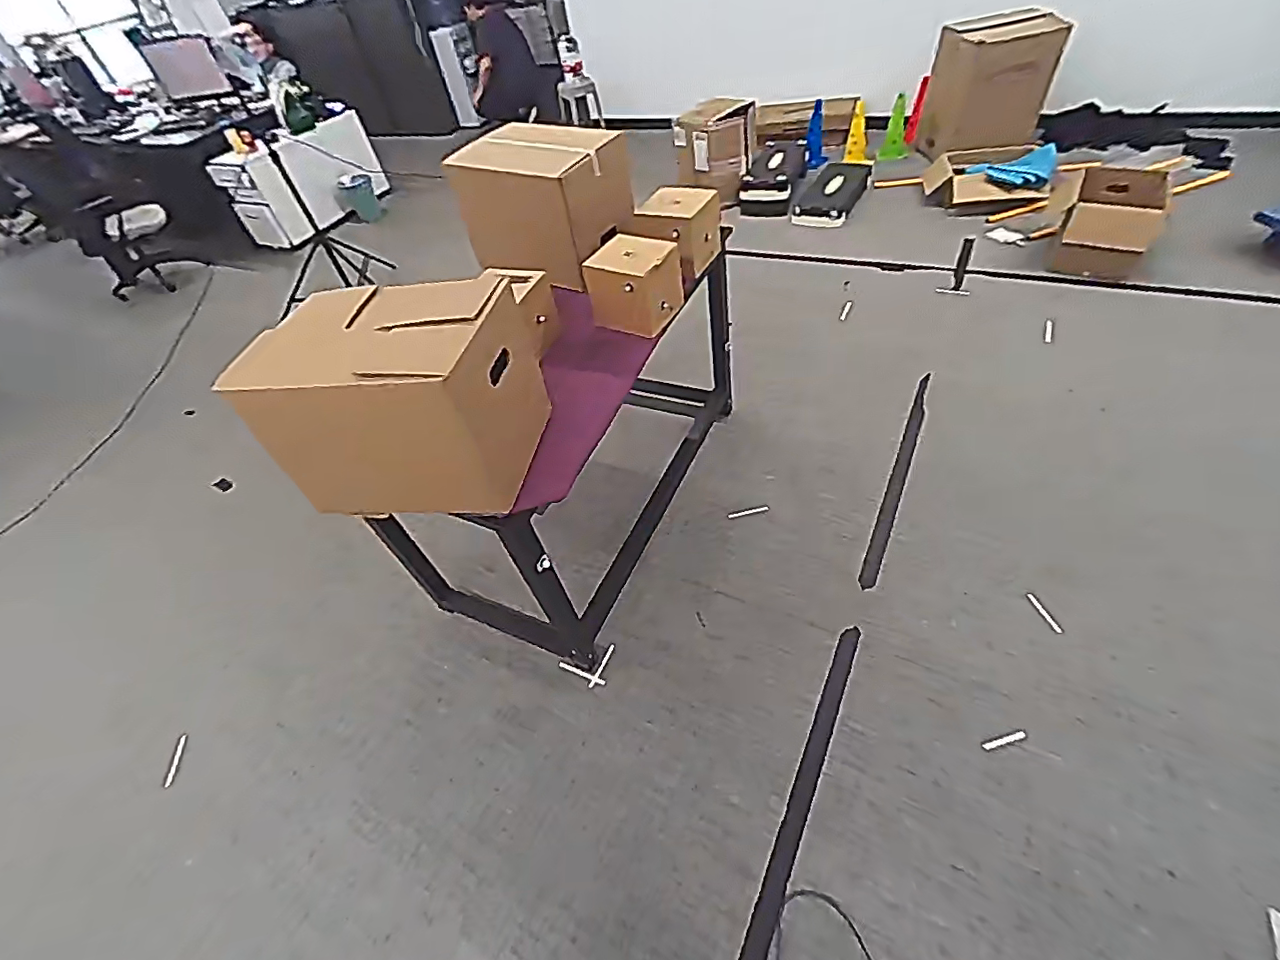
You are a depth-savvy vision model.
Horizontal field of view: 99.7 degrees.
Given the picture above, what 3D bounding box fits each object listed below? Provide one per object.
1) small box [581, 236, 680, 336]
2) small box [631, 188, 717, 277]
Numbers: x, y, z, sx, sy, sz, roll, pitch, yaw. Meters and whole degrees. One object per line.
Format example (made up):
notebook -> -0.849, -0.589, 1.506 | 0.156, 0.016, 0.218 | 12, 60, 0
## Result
small box -> -0.017, -0.480, 1.341 | 0.179, 0.176, 0.168 | 20, 56, 25
small box -> 0.101, -0.679, 1.490 | 0.179, 0.176, 0.168 | 17, 54, 27
